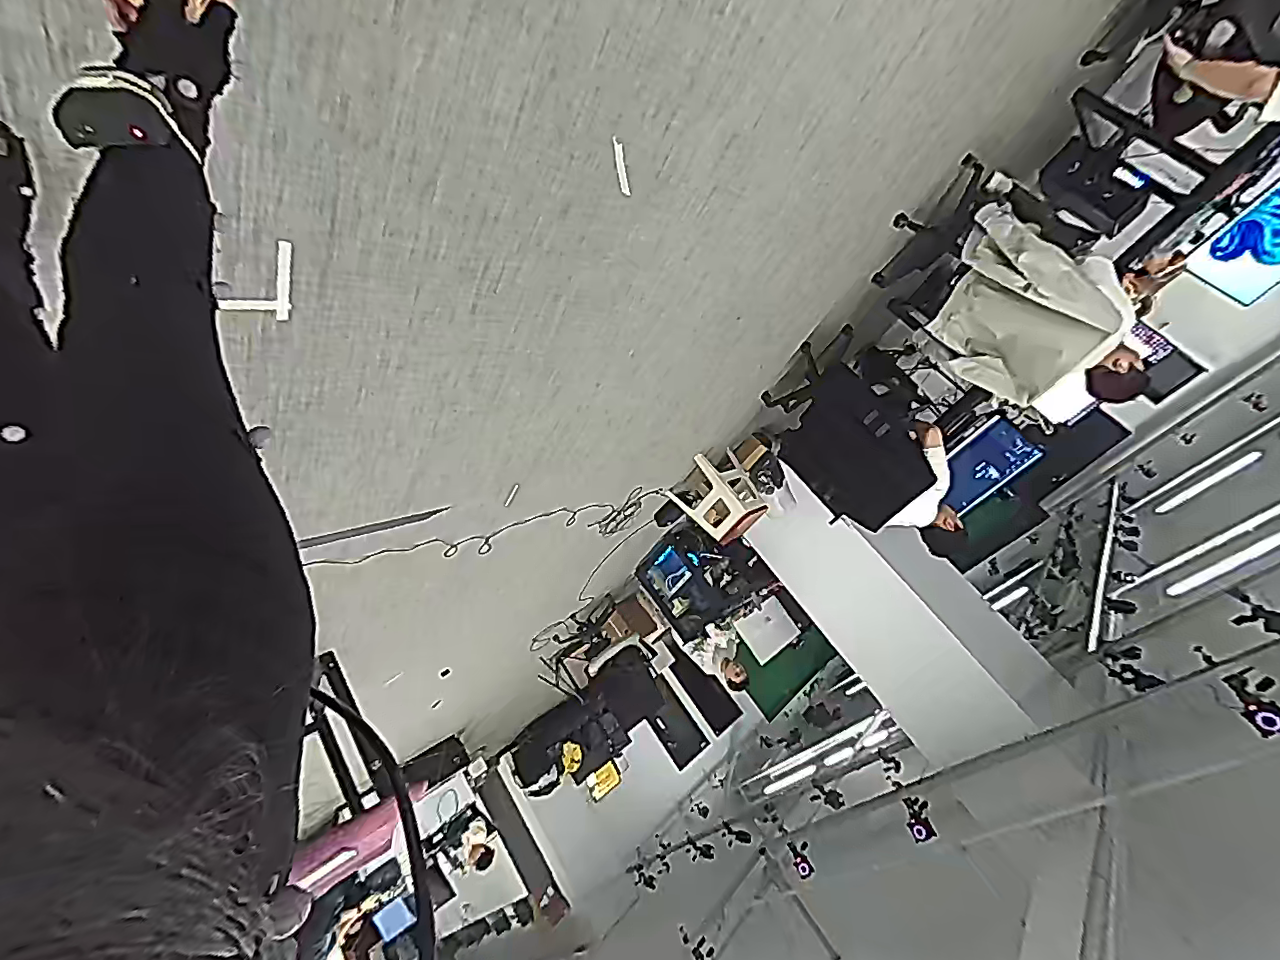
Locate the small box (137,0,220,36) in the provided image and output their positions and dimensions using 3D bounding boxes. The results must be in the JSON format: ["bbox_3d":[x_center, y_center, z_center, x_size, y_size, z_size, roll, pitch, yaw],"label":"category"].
[{"bbox_3d":[-0.439,-0.534,0.458,0.168,0.176,0.179,-47,136,15],"label":"small box"}]
